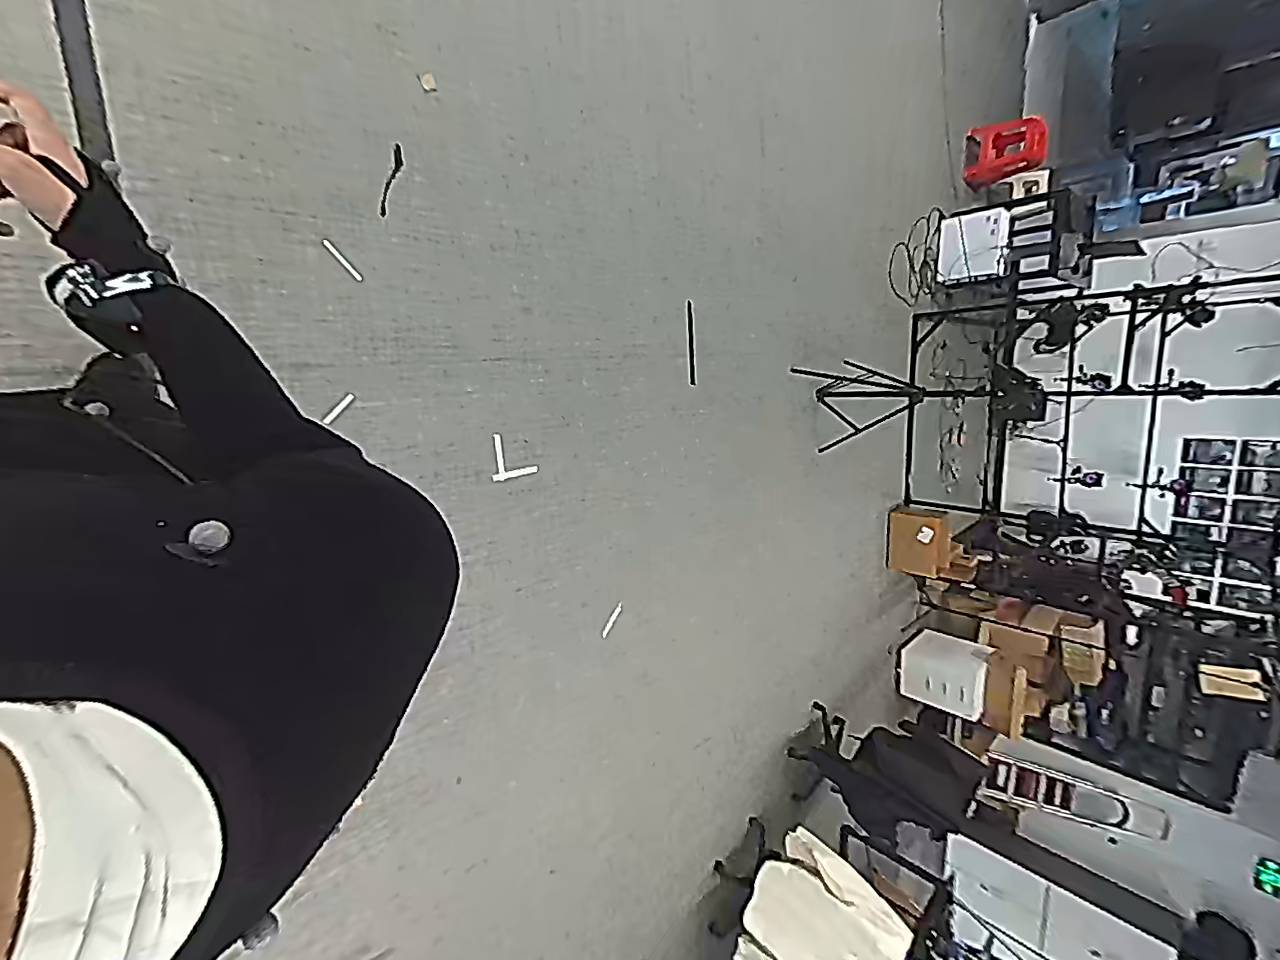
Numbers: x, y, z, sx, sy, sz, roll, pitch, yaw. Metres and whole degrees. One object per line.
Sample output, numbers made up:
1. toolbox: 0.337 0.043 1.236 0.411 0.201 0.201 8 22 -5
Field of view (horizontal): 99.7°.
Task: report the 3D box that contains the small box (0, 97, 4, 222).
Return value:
1. small box: -0.626 -0.239 0.418 0.168 0.176 0.179 4 100 -49
